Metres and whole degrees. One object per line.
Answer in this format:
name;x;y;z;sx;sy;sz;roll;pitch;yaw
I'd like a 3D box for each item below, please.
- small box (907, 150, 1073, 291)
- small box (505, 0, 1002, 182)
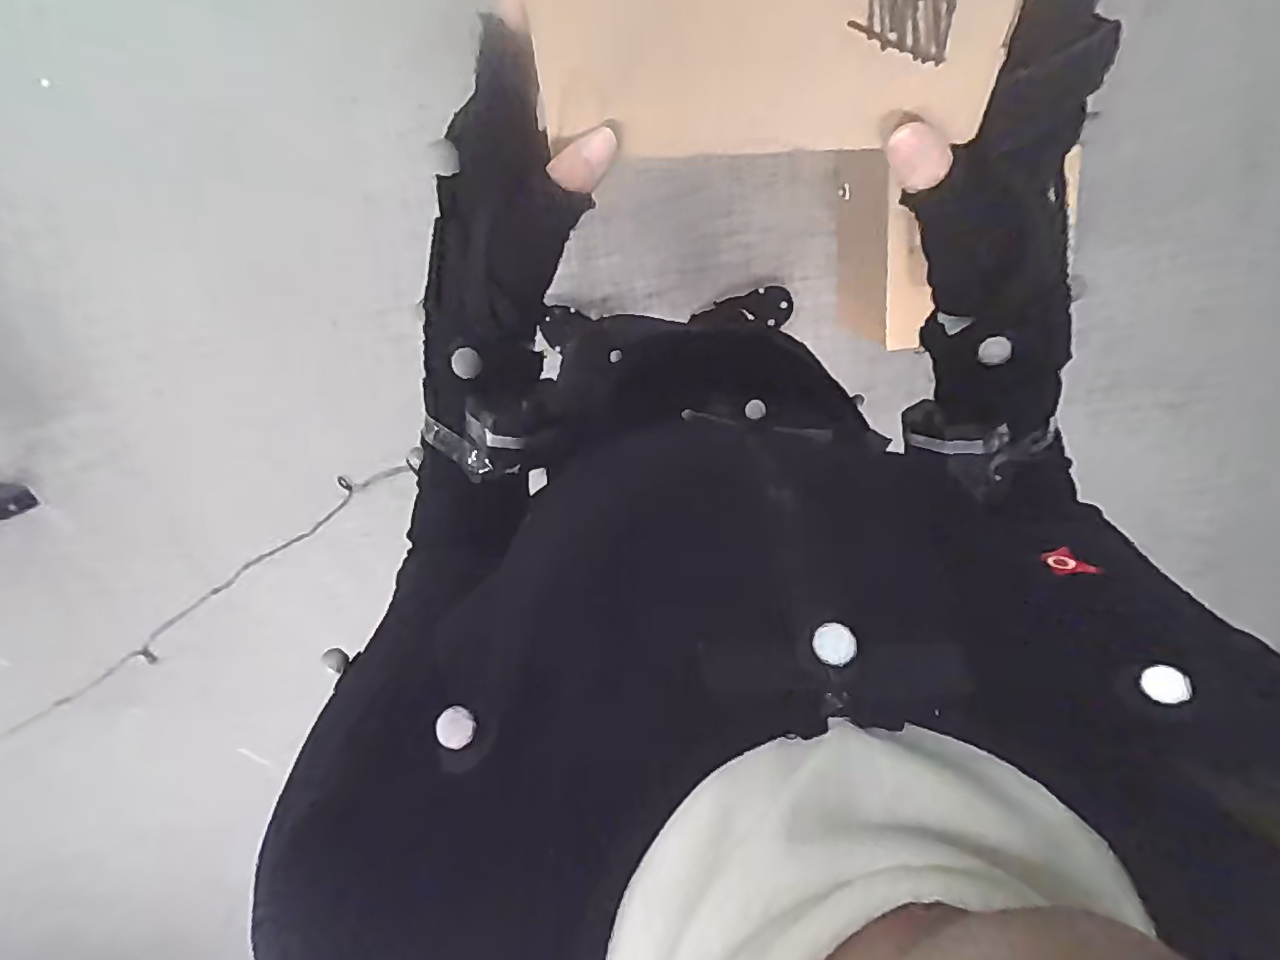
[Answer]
small box;0.550;-0.412;0.879;0.179;0.176;0.168;-10;113;8
small box;0.041;-0.245;0.223;0.179;0.176;0.168;1;139;6
